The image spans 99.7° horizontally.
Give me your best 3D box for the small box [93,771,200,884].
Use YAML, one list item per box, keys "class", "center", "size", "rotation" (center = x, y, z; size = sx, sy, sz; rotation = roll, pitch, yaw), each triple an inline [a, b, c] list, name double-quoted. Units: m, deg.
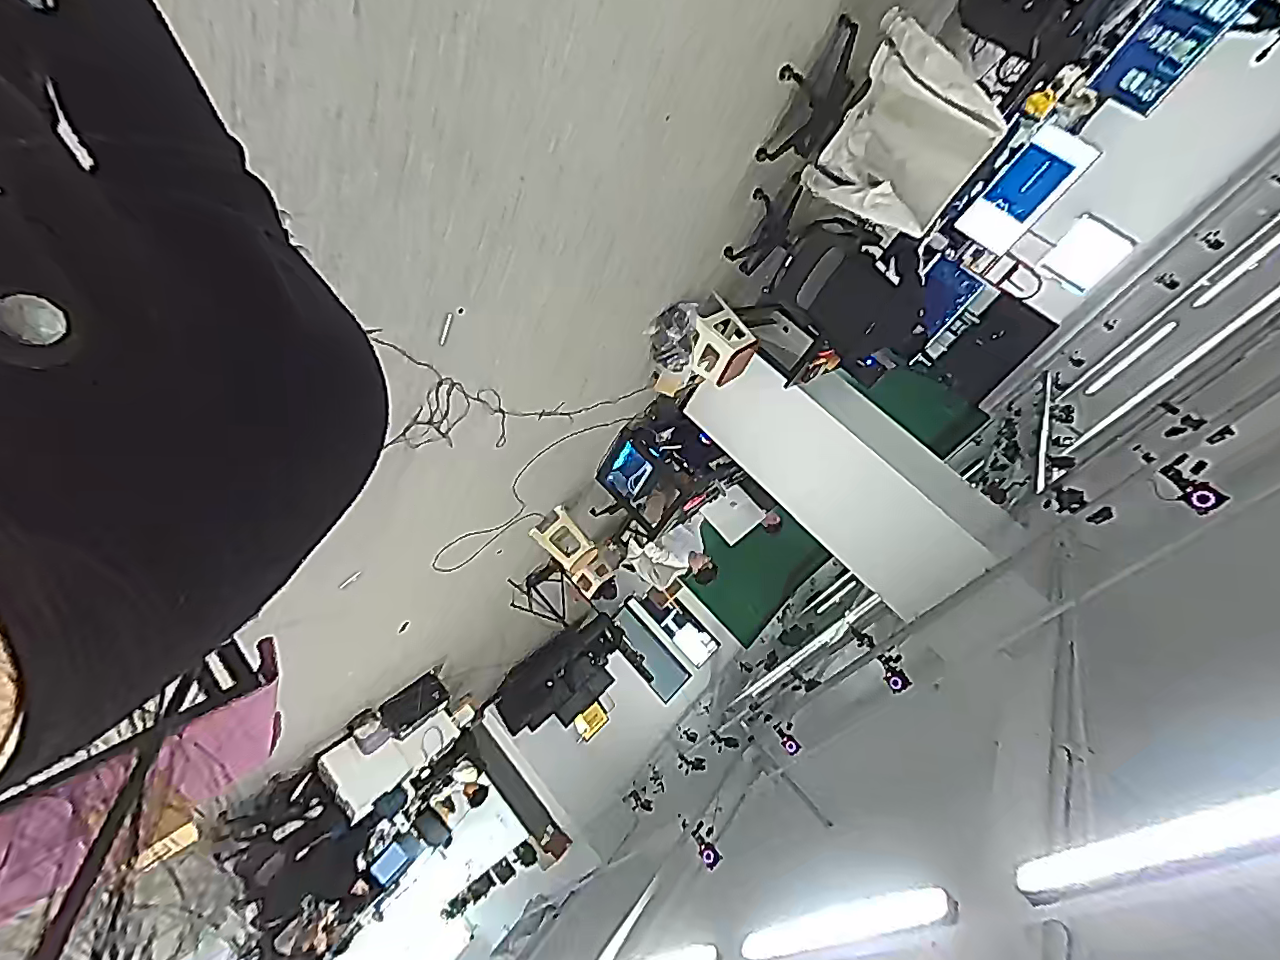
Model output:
- class: "small box"
  center: [-1.306, 0.916, 1.437]
  size: [0.168, 0.176, 0.179]
  rotation: [-25, 155, -51]
